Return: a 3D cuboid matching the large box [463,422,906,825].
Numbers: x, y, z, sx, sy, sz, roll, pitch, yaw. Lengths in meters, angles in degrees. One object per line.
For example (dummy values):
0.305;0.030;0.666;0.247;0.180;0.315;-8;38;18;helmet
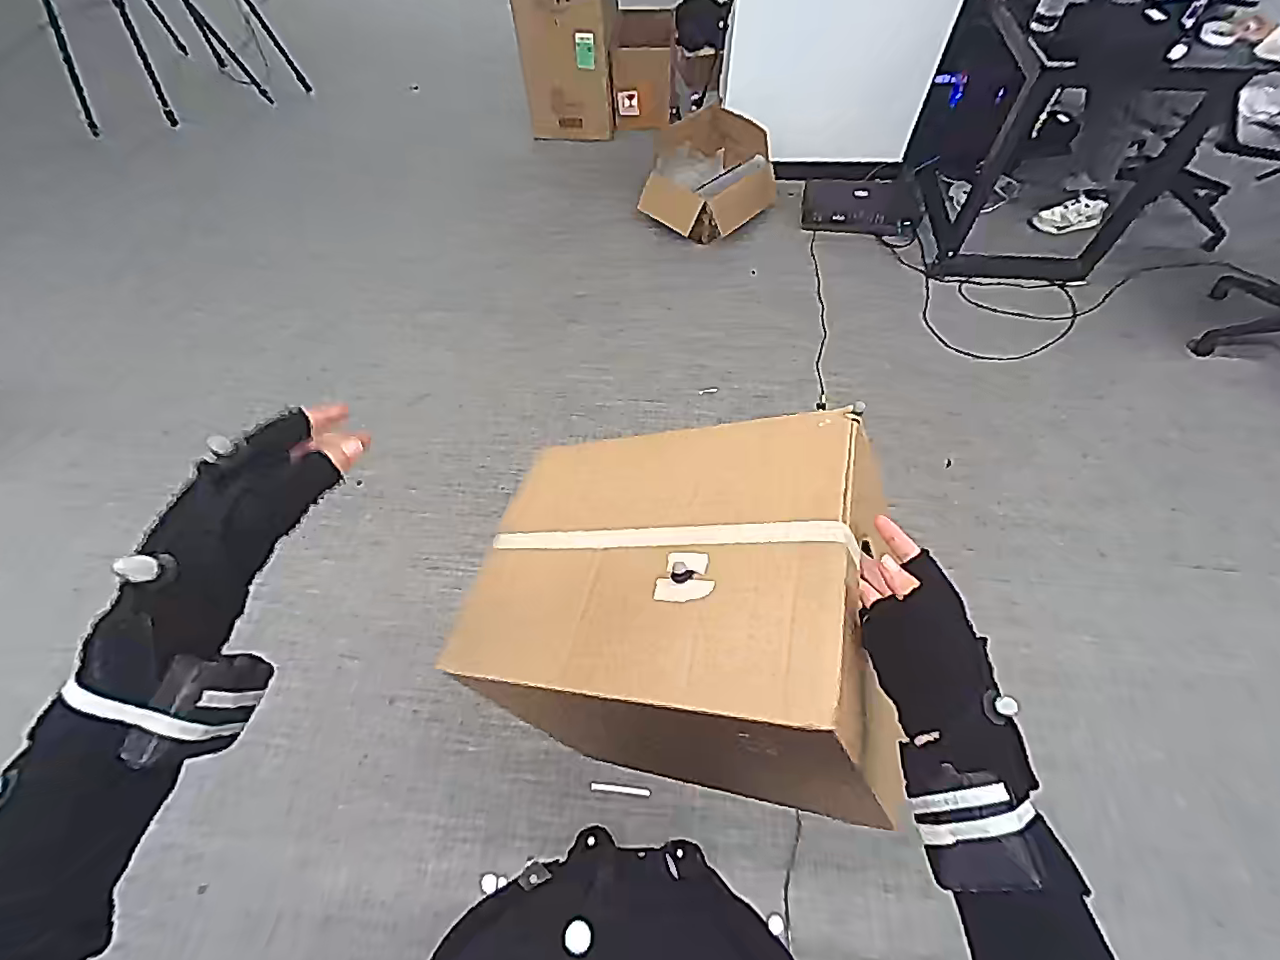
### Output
0.081;0.169;0.665;0.408;0.320;0.320;-6;47;33;large box
